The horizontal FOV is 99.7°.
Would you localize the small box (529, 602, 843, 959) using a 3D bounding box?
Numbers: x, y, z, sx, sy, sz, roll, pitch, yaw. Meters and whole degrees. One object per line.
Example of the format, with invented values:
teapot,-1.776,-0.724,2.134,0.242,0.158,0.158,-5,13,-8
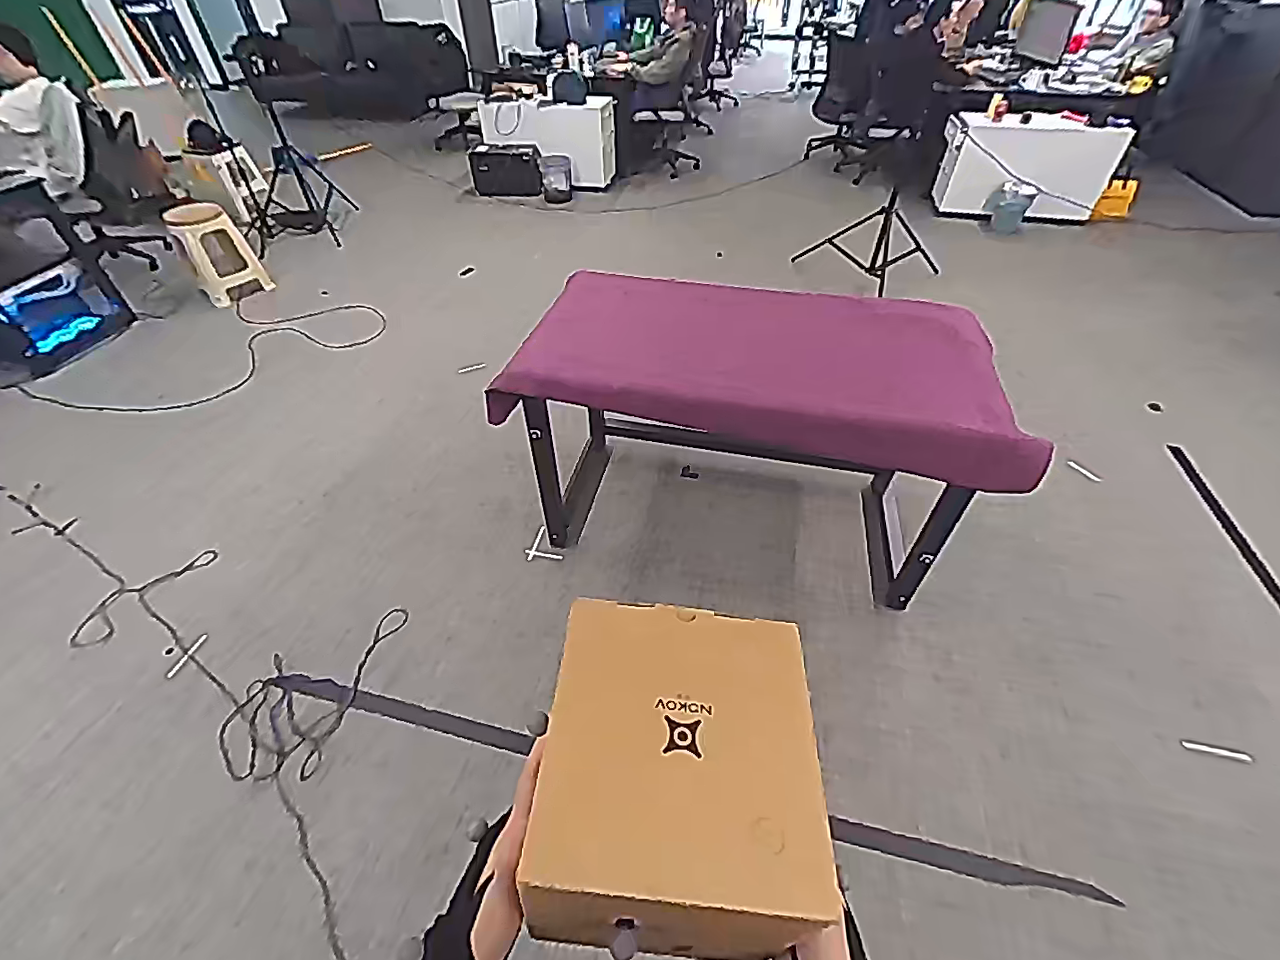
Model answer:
small box,0.024,0.216,0.390,0.168,0.176,0.179,7,41,0
